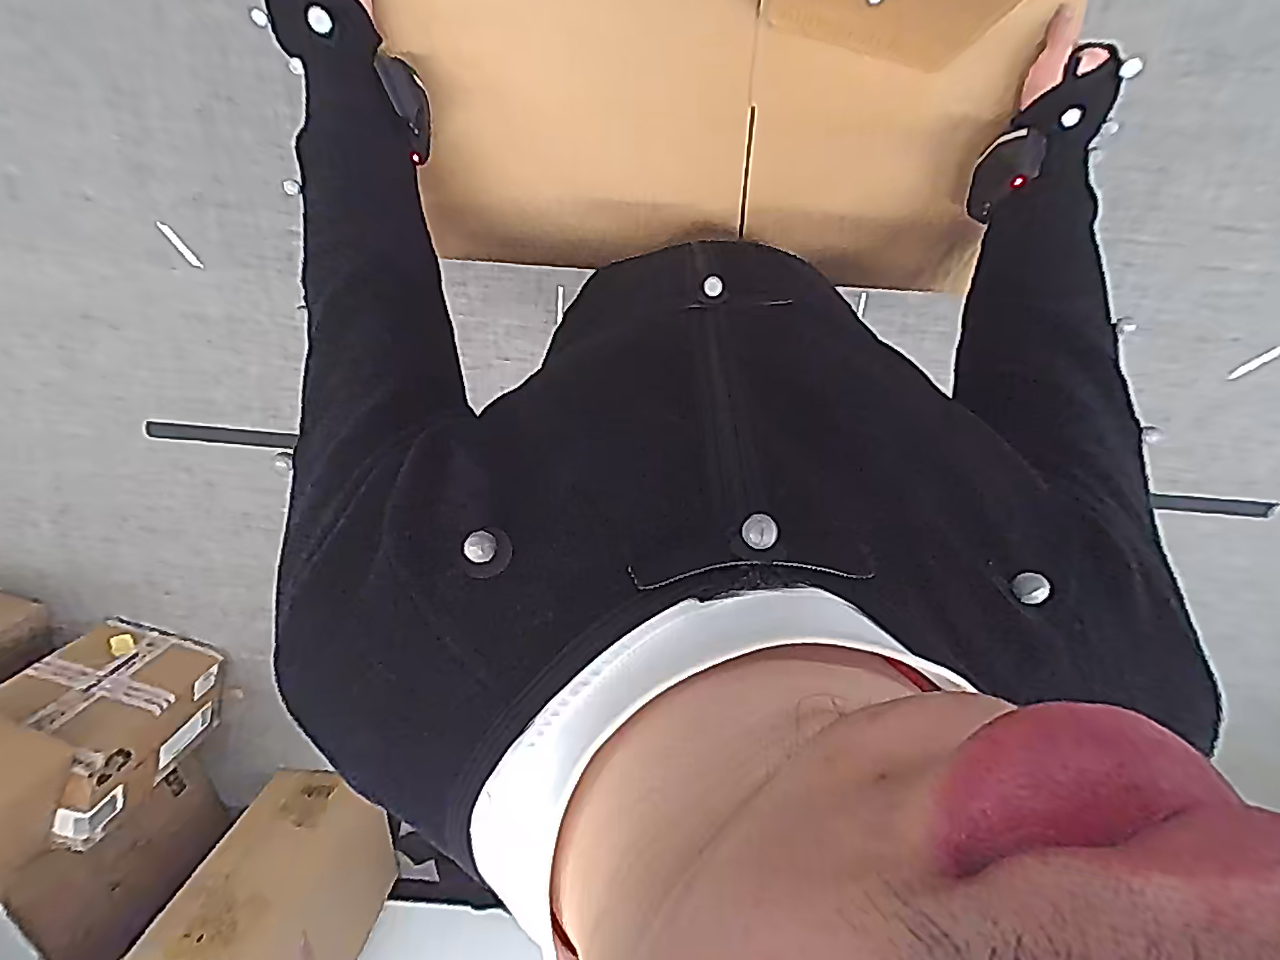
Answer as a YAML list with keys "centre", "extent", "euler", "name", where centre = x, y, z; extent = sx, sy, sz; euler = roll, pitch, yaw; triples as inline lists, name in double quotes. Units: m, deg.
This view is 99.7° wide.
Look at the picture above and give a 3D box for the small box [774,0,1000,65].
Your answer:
- centre: [0.220, -0.465, 0.418]
  extent: [0.179, 0.176, 0.168]
  euler: [14, 105, -2]
  name: "small box"
